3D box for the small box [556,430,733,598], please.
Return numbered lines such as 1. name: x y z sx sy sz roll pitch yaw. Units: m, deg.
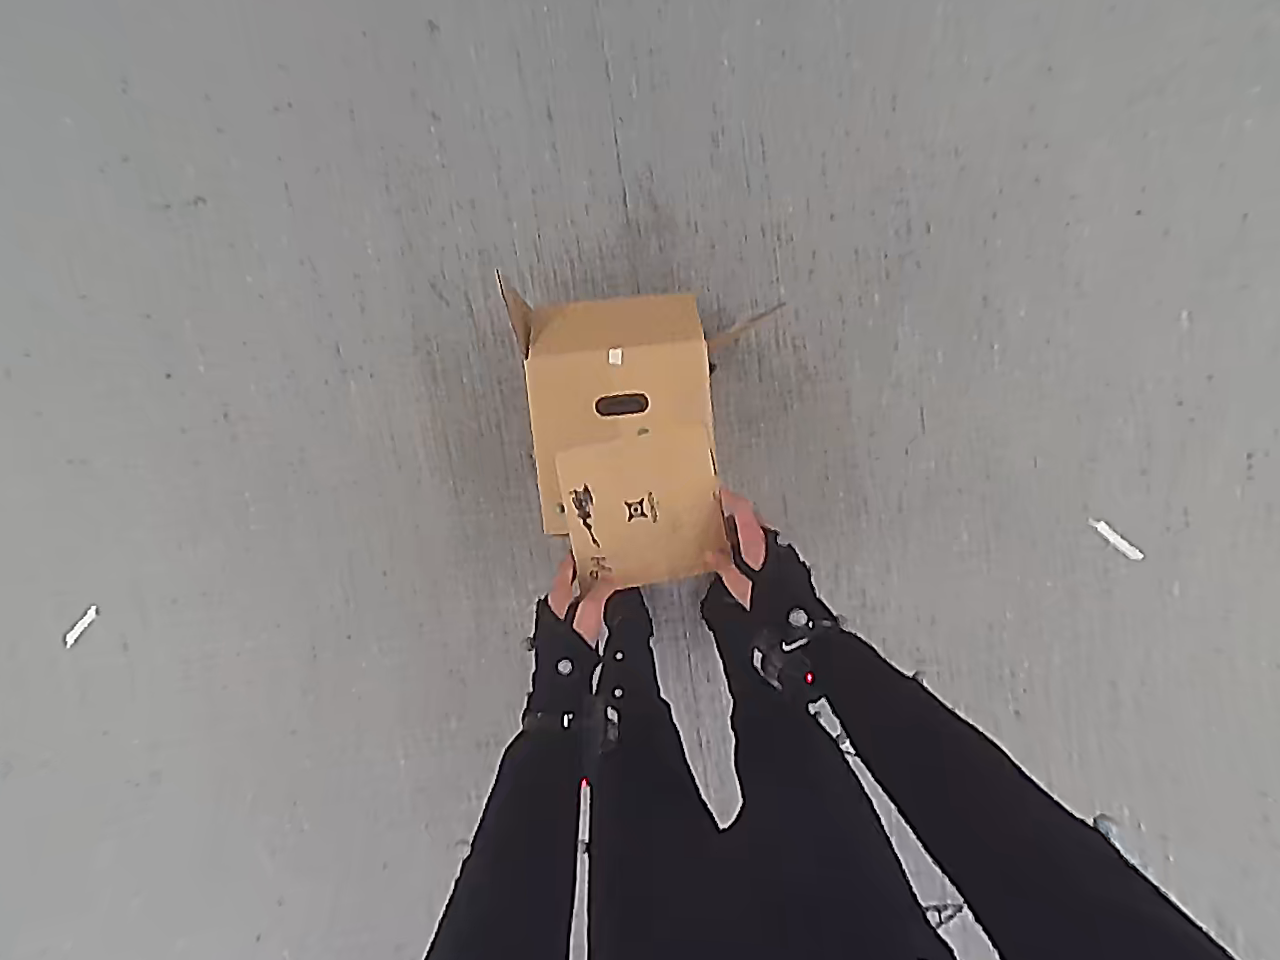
1. small box: 0.004 0.036 0.675 0.179 0.176 0.168 -11 90 0
